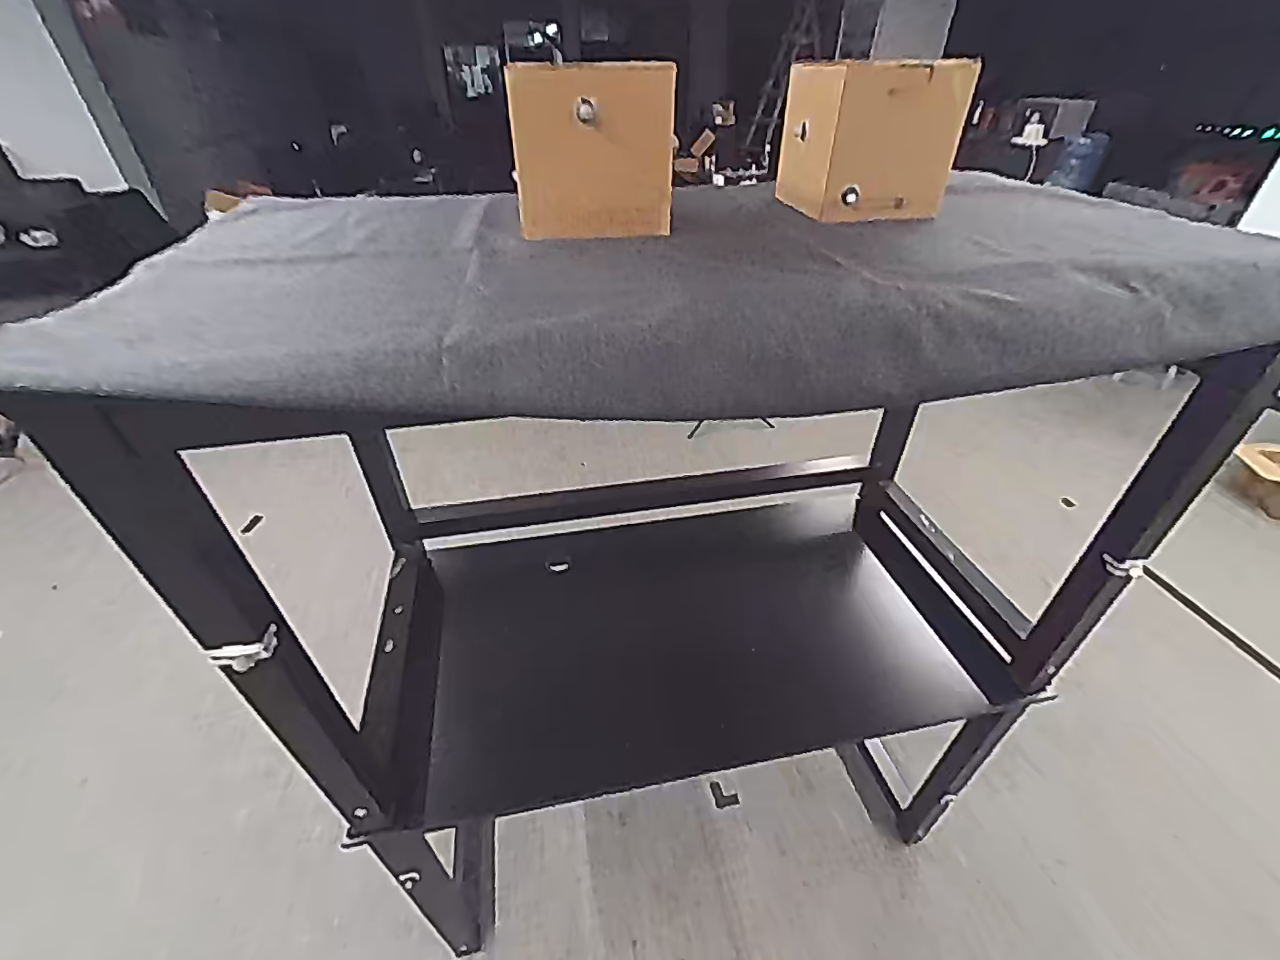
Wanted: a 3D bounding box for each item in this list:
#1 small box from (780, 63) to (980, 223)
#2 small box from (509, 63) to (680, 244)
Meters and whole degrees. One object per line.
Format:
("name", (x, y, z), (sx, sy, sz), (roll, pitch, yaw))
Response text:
("small box", (0.303, -0.451, 0.727), (0.168, 0.176, 0.179), (-5, 37, -7))
("small box", (-0.053, -0.396, 0.657), (0.179, 0.176, 0.168), (-4, 38, -5))
